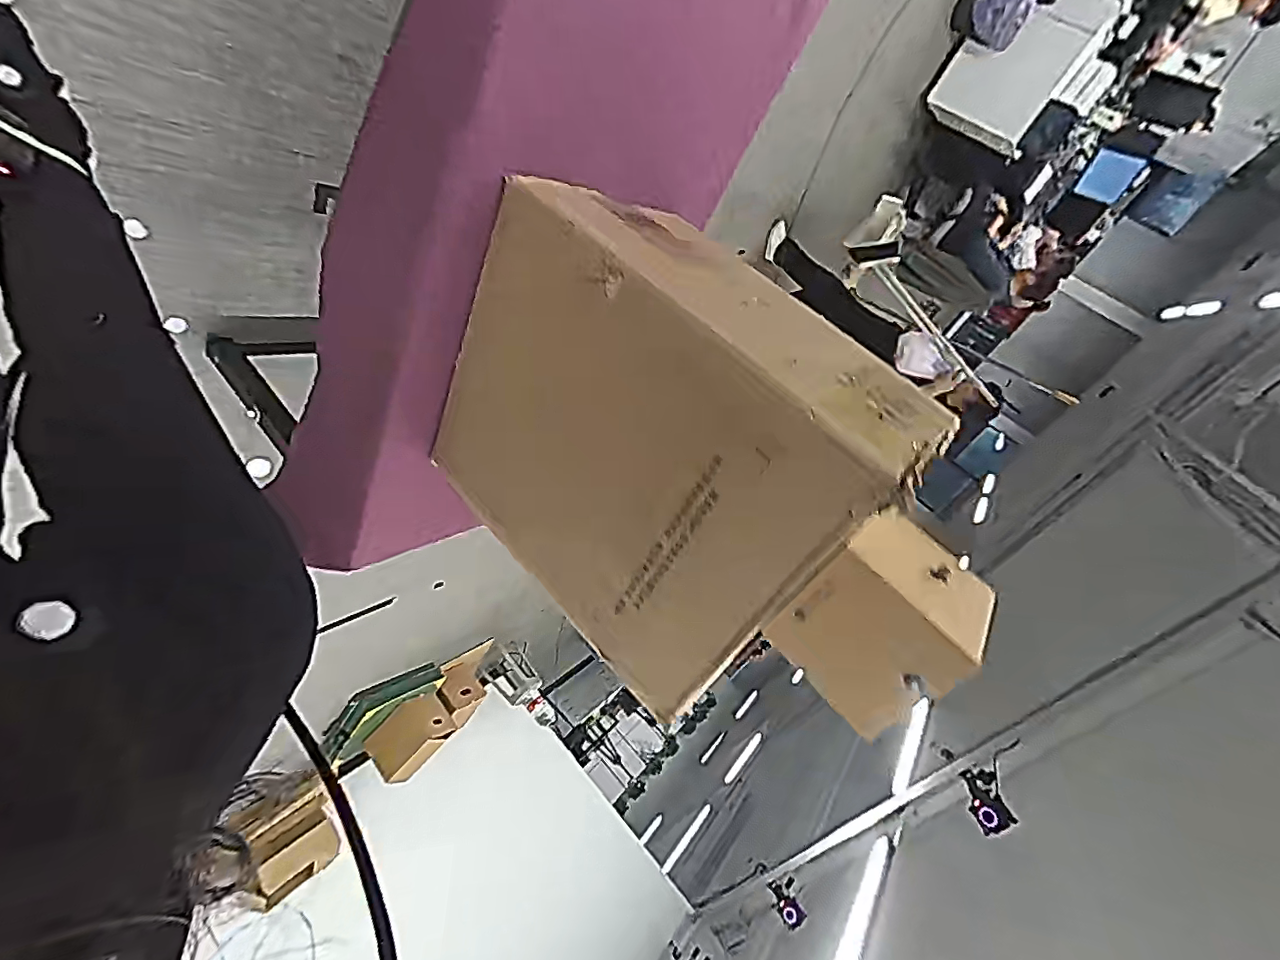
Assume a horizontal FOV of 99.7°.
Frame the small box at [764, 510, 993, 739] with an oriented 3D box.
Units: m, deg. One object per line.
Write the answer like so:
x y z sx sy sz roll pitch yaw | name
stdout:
0.285 0.161 0.653 0.179 0.176 0.168 -23 151 -51 | small box
